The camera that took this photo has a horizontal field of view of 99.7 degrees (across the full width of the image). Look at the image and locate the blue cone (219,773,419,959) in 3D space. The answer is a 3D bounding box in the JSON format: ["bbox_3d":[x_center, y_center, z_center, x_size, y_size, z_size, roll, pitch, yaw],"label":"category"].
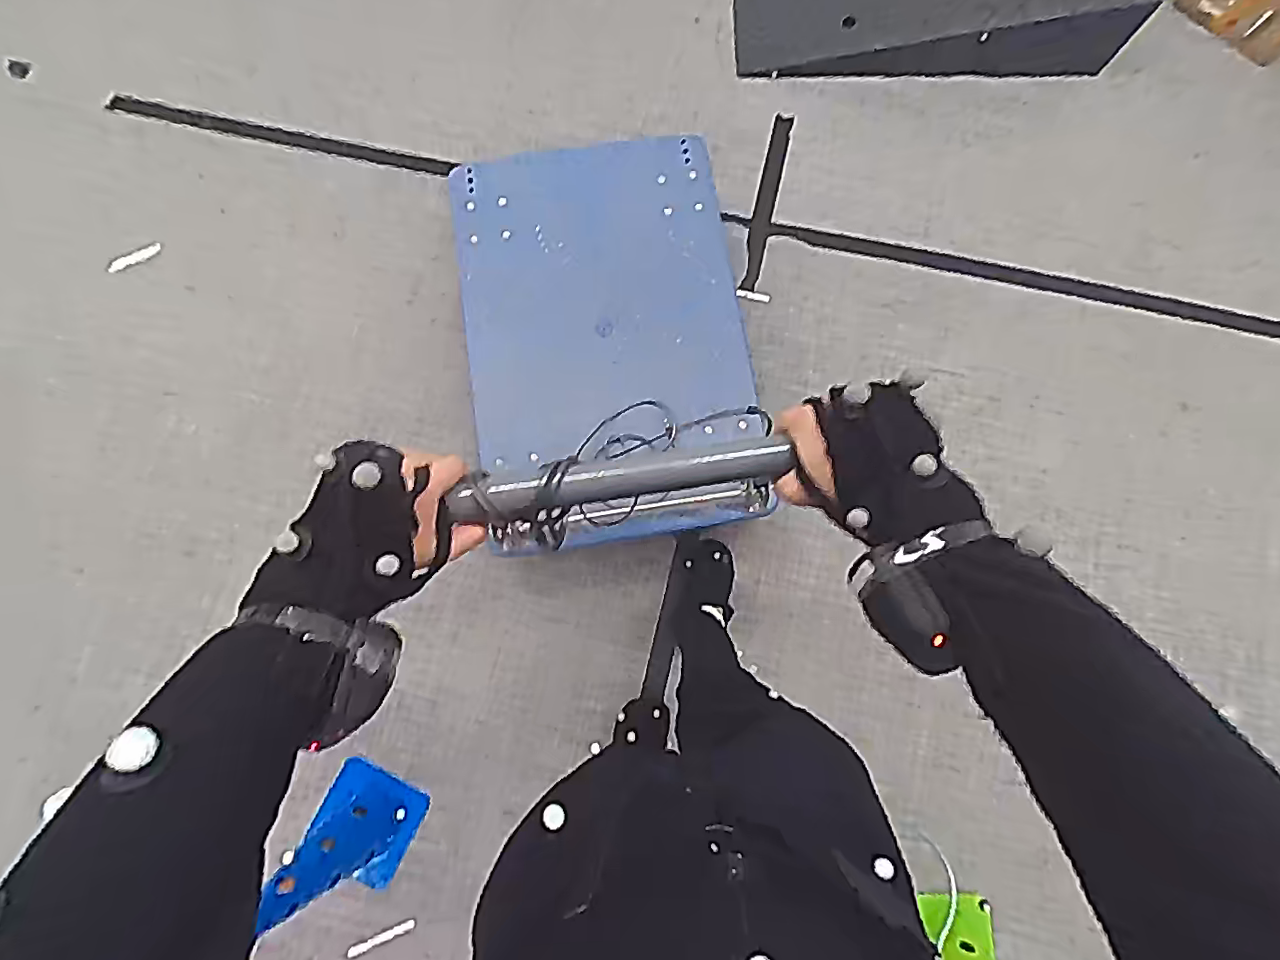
[{"bbox_3d":[-0.561,0.681,0.933,0.193,0.380,0.192,28,81,5],"label":"blue cone"}]

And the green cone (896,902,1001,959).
[{"bbox_3d":[0.599,0.899,0.876,0.200,0.368,0.202,-1,80,0],"label":"green cone"}]
